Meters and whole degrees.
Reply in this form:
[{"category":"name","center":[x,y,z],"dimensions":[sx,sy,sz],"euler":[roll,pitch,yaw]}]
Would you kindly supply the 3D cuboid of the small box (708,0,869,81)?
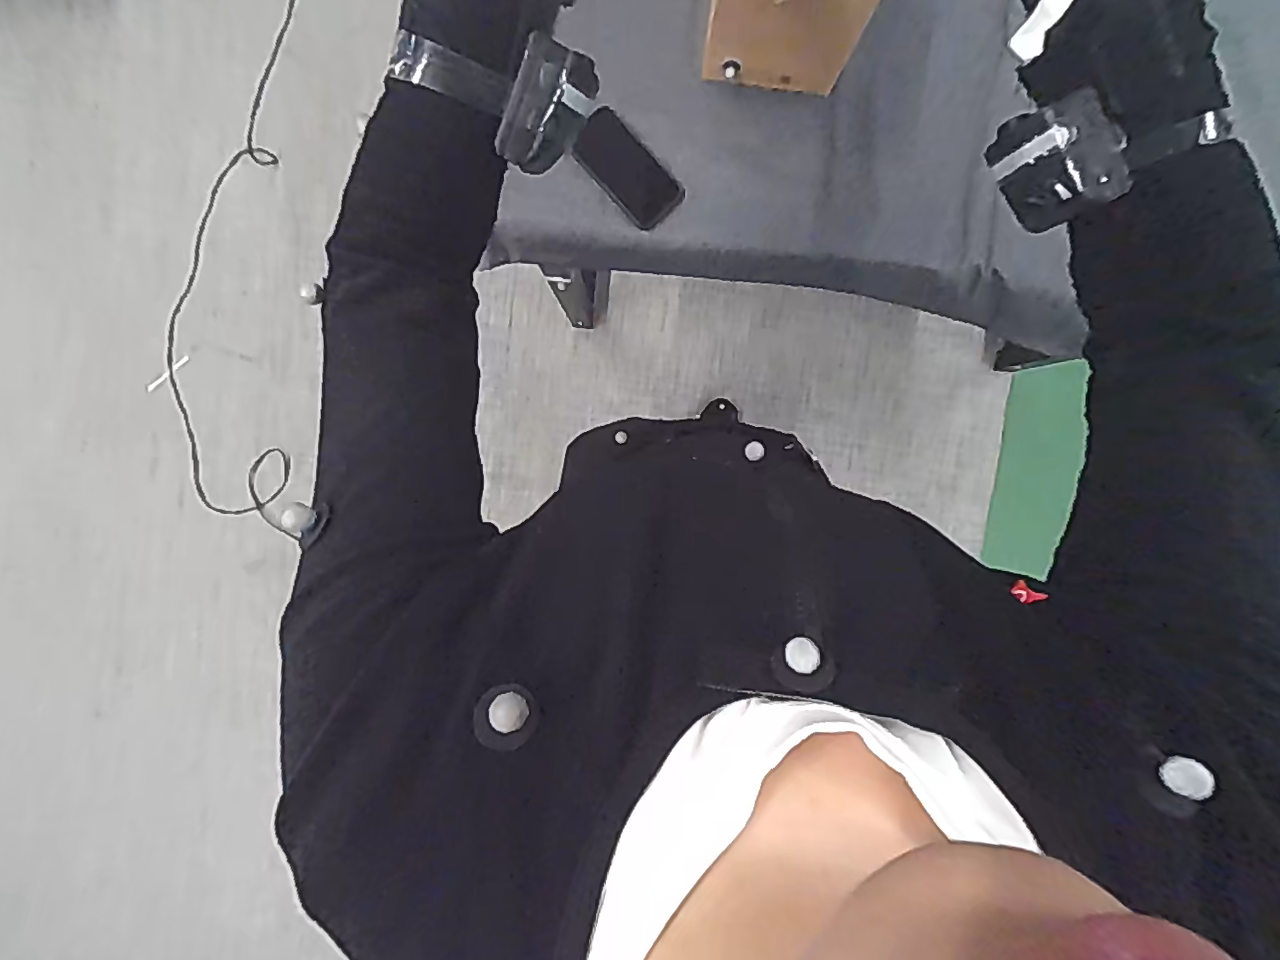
[{"category":"small box","center":[0.174,-0.592,0.602],"dimensions":[0.168,0.176,0.179],"euler":[8,93,-1]}]
